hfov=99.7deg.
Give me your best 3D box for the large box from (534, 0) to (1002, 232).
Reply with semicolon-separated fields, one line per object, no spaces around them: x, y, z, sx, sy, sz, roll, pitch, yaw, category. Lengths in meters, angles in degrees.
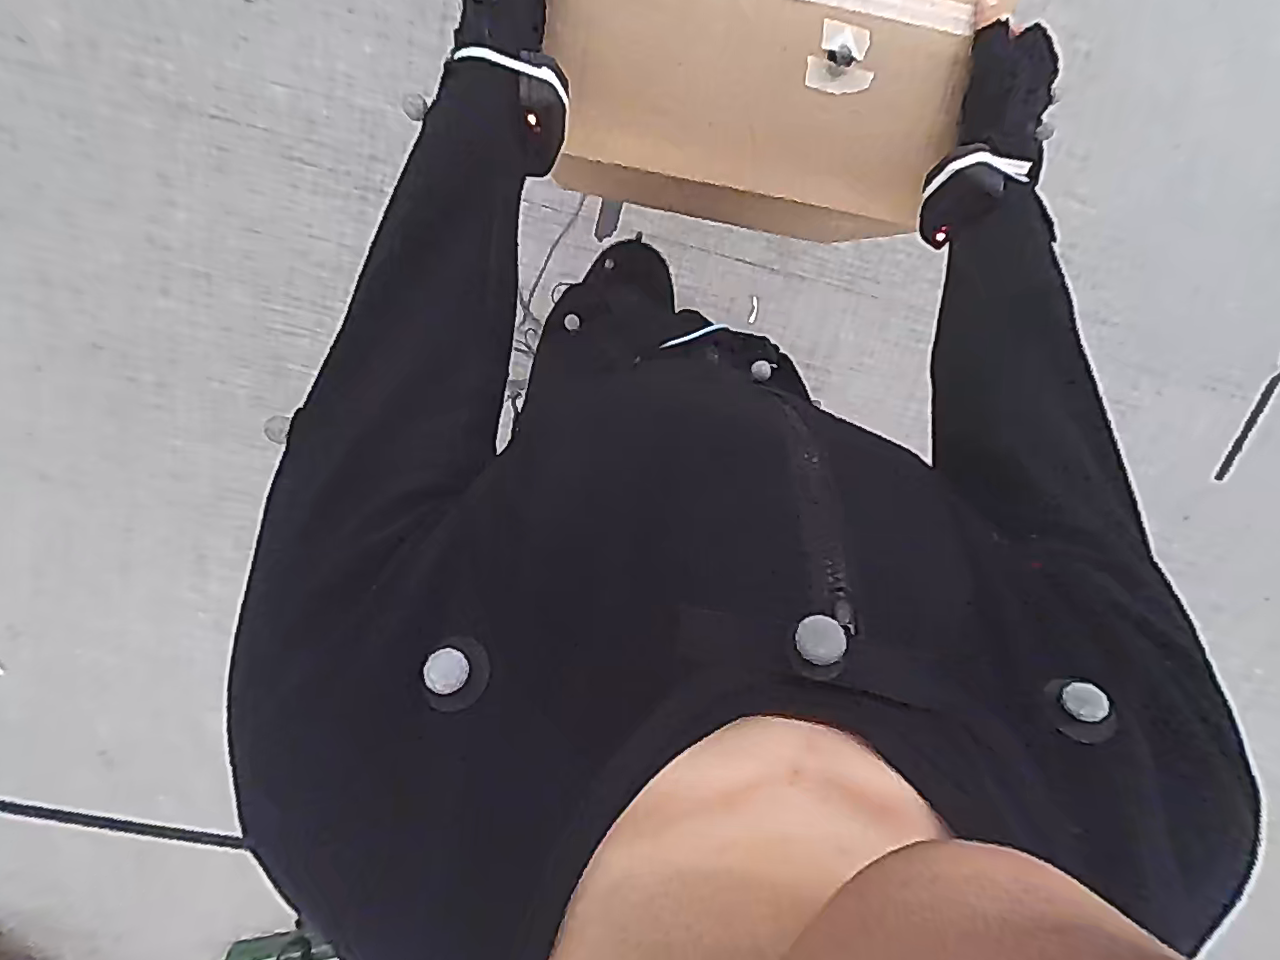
0.112;-0.482;0.604;0.408;0.320;0.320;8;112;-5;large box
